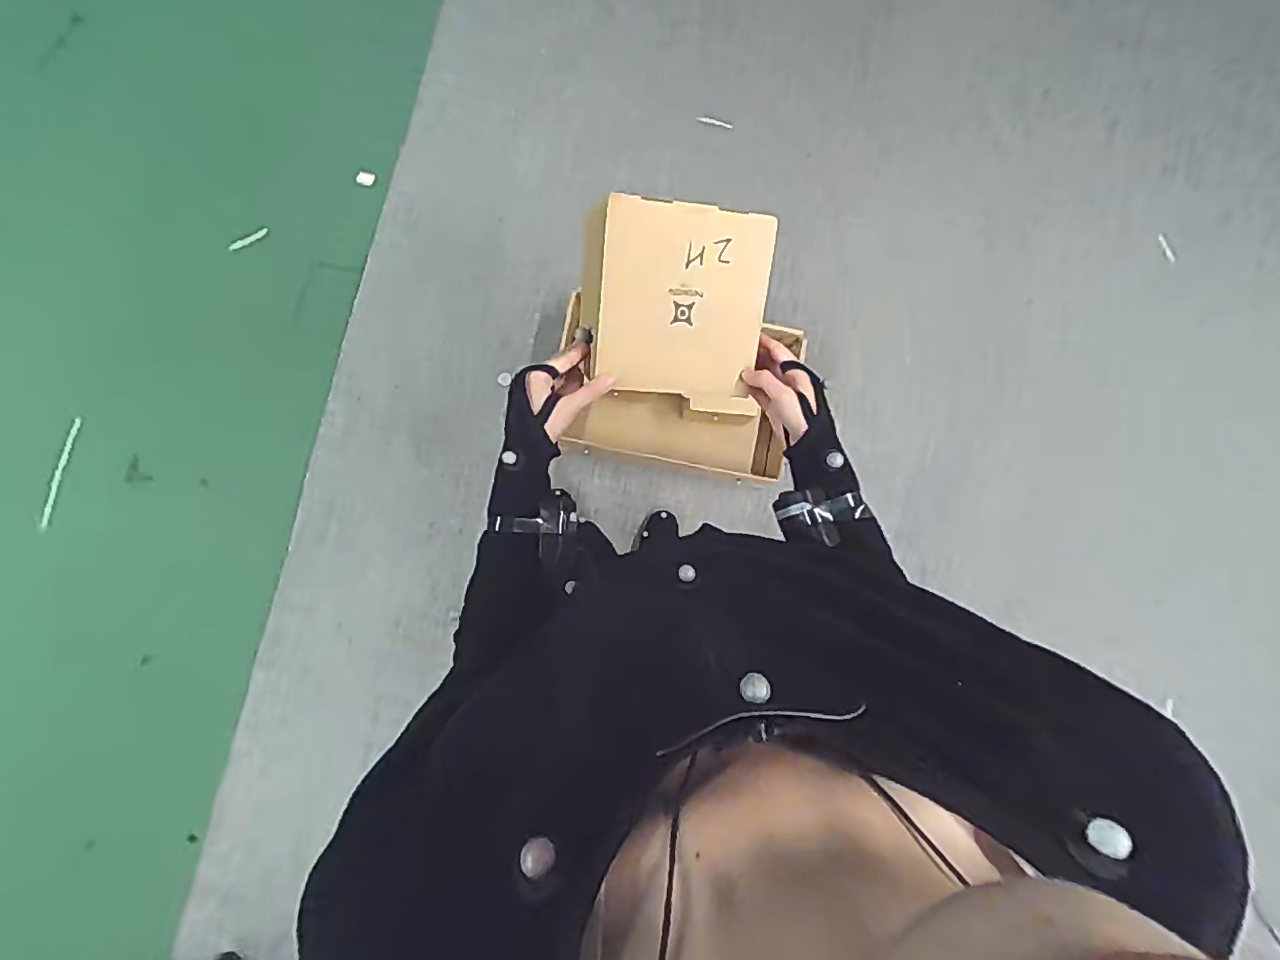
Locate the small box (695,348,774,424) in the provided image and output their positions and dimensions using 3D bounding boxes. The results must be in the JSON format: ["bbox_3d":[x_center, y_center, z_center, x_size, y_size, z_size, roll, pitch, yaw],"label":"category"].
[{"bbox_3d":[0.240,-0.246,1.420,0.179,0.176,0.168,5,87,0],"label":"small box"}]

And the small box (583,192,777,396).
[{"bbox_3d":[0.028,-0.198,0.595,0.168,0.176,0.179,1,109,-12],"label":"small box"}]

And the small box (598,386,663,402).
[{"bbox_3d":[-0.017,-0.309,1.422,0.179,0.176,0.168,9,88,-1],"label":"small box"}]
